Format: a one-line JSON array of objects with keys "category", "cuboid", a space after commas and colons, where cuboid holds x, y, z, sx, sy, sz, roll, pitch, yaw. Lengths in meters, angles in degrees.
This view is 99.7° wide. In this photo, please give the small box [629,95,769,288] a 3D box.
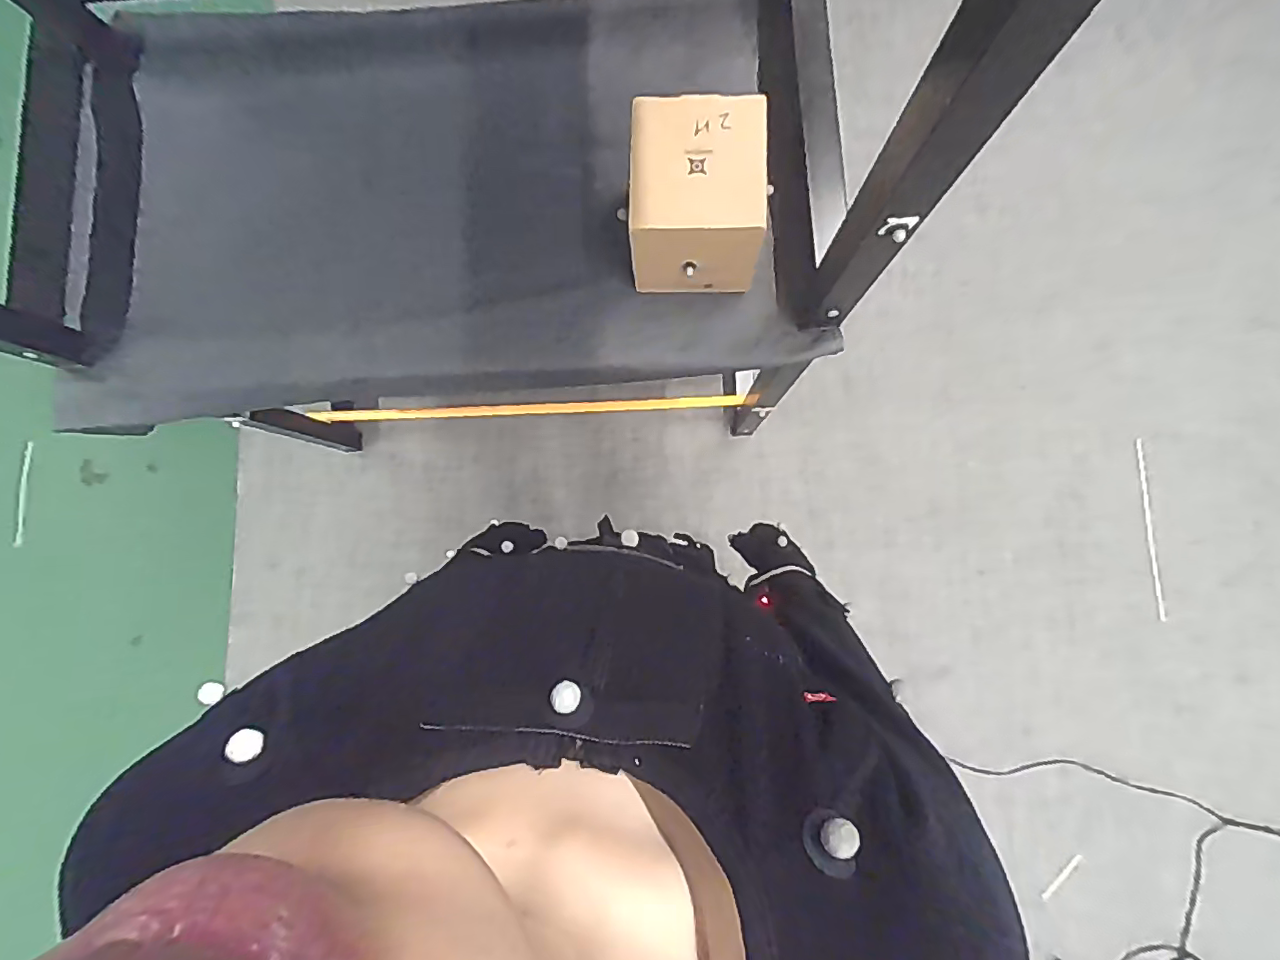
[{"category": "small box", "cuboid": [0.076, -0.375, 0.732, 0.168, 0.176, 0.179, 1, 83, 3]}]
